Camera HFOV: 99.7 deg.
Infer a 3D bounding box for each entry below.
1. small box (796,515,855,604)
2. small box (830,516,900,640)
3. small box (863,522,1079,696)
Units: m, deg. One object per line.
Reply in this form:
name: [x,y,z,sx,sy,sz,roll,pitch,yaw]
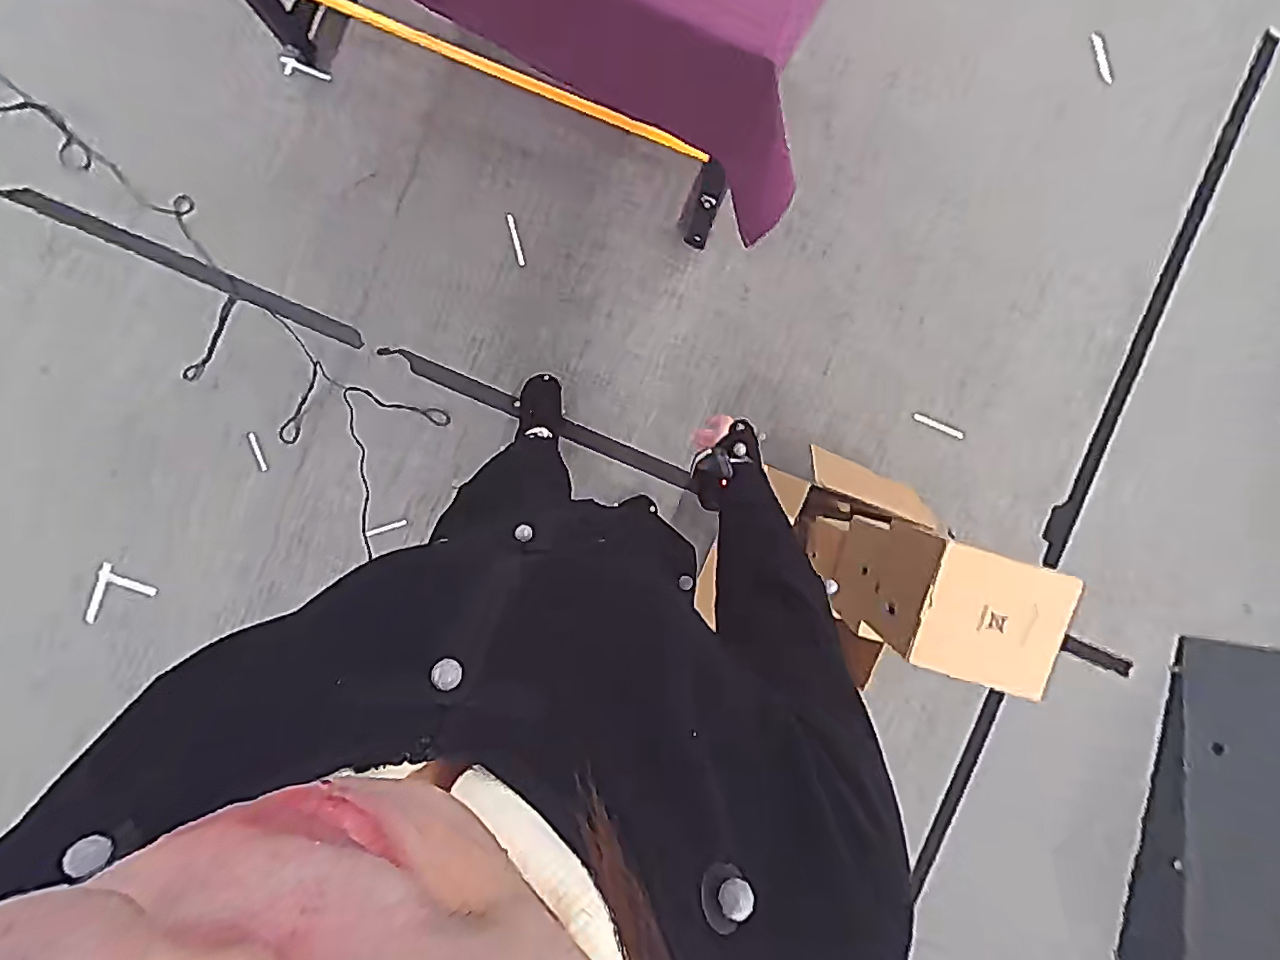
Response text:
small box: [0.466,0.178,1.249,0.168,0.176,0.179,2,96,2]
small box: [0.443,0.169,0.920,0.168,0.176,0.179,16,95,2]
small box: [0.442,0.165,0.756,0.179,0.176,0.168,17,96,1]
